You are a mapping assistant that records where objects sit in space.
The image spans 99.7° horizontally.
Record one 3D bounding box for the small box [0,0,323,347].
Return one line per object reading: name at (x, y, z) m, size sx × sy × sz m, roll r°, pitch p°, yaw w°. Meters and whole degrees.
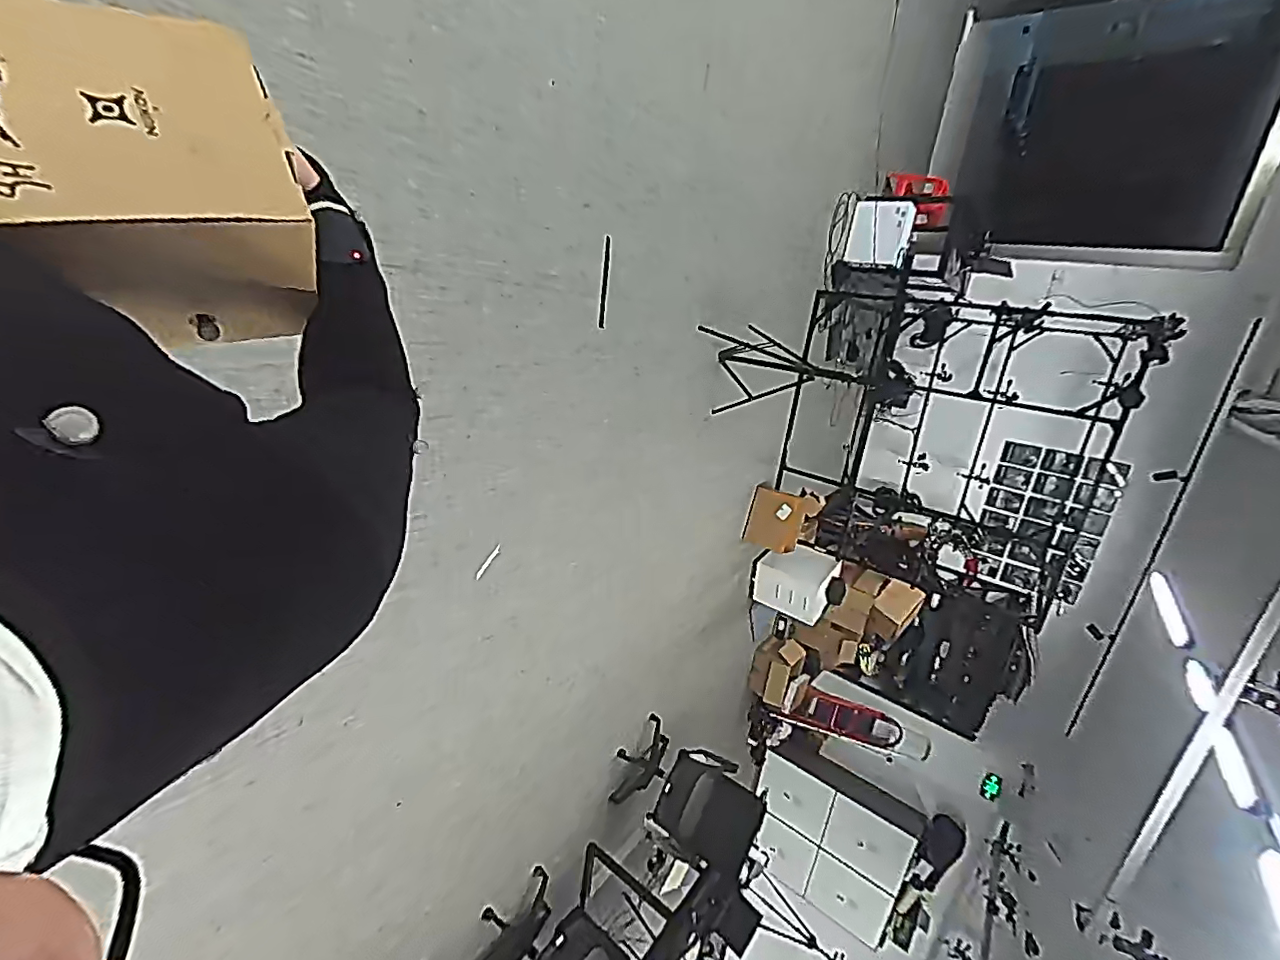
small box at (-0.383, -0.227, 0.443) m, size 0.179 × 0.176 × 0.168 m, roll -18°, pitch 83°, yaw -35°
